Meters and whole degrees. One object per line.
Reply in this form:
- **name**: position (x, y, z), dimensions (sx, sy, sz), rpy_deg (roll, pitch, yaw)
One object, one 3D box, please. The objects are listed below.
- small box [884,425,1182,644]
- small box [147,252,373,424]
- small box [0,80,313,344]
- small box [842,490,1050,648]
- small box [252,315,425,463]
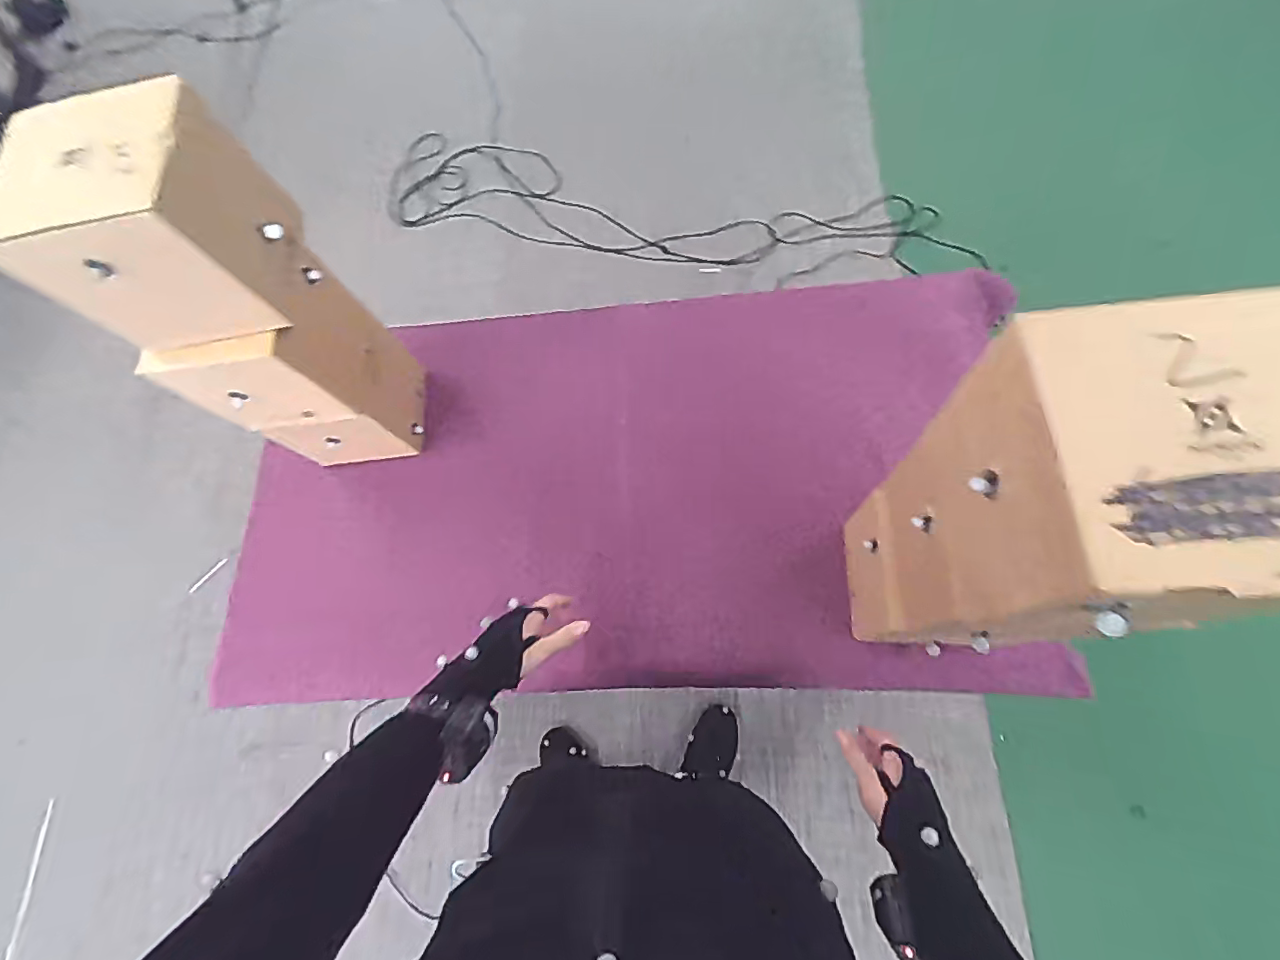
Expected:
- **small box**: position (0.350, 0.060, 0.526), dimensions (0.168, 0.176, 0.179), rpy_deg (0, 71, 9)
- **small box**: position (-0.478, -0.184, 0.711), dimensions (0.168, 0.176, 0.179), rpy_deg (-5, 70, 5)
- **small box**: position (-0.485, -0.262, 0.564), dimensions (0.179, 0.176, 0.168), rpy_deg (-9, 71, 4)
- **small box**: position (0.366, 0.118, 0.678), dimensions (0.179, 0.176, 0.168), rpy_deg (1, 70, 7)
- **small box**: position (-0.465, -0.137, 0.865), dimensions (0.179, 0.176, 0.168), rpy_deg (-6, 71, 5)
